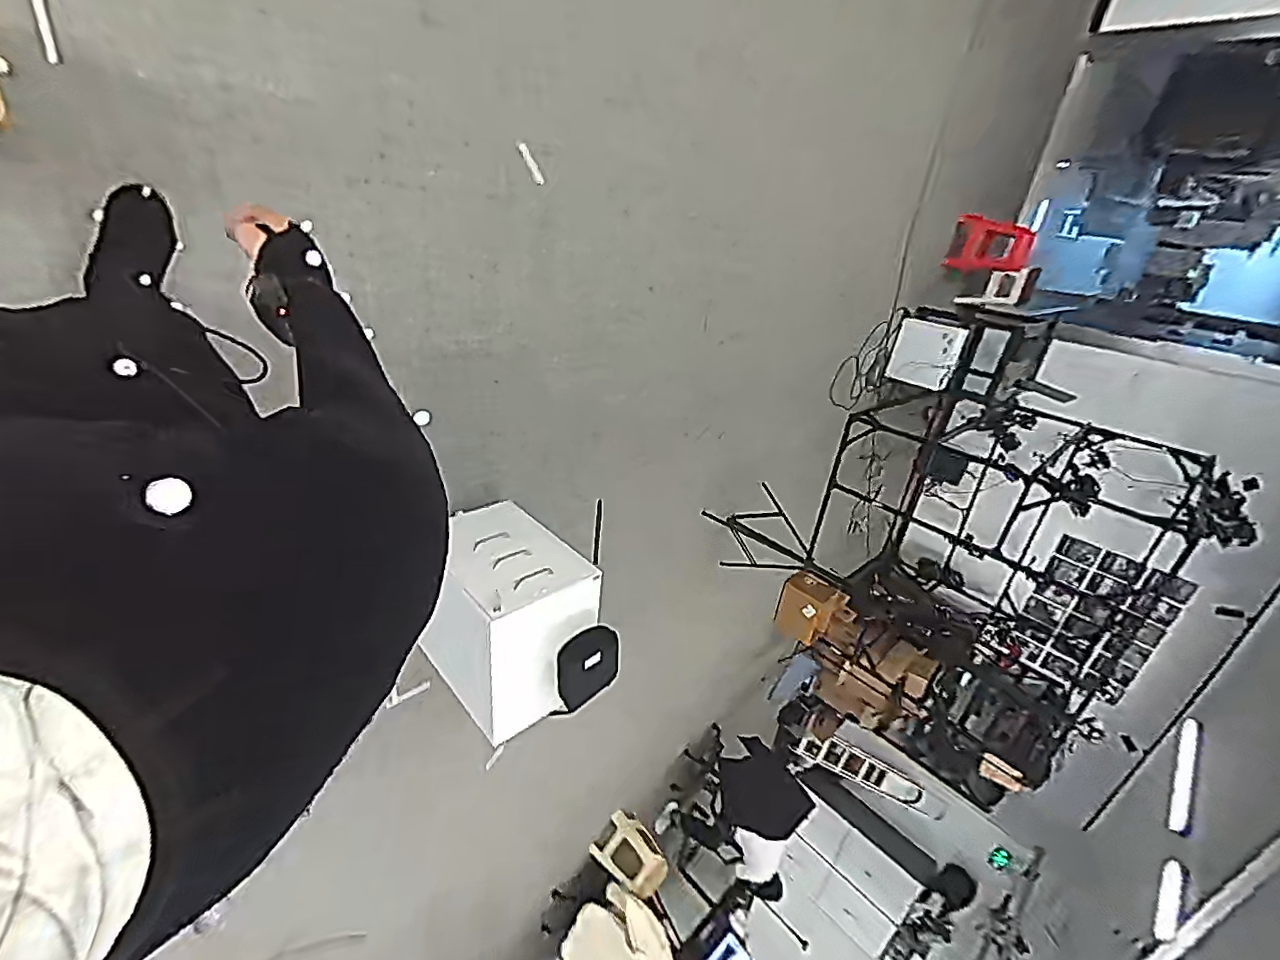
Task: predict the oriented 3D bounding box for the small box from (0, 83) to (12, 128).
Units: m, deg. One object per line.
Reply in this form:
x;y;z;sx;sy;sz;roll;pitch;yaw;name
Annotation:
-0.999;-0.580;0.724;0.179;0.176;0.168;-19;126;-42;small box
